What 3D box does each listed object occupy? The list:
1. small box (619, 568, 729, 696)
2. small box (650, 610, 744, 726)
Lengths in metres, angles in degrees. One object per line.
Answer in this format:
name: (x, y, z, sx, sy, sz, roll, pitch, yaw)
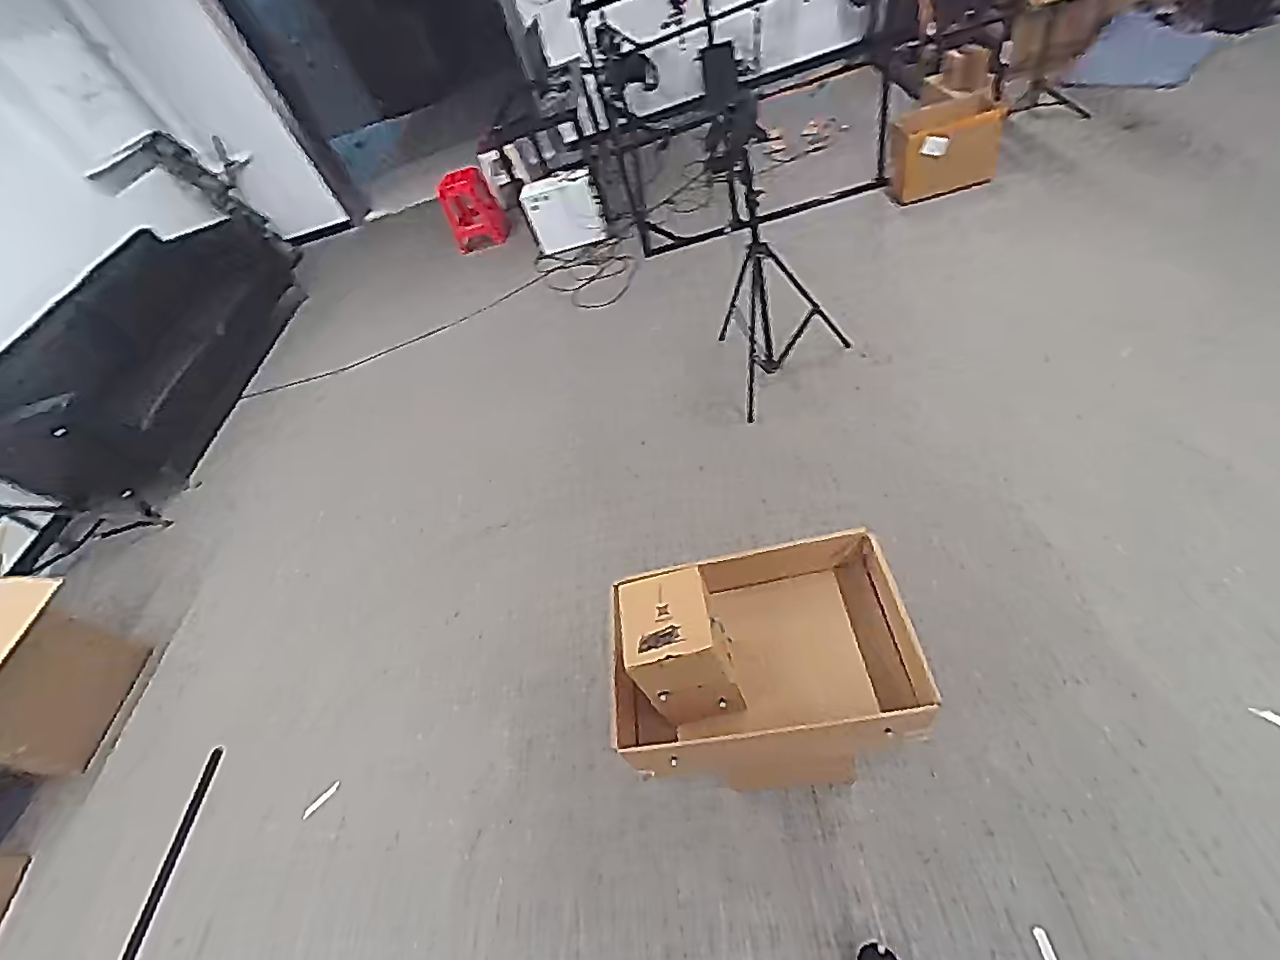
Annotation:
small box: (0.067, 0.303, 1.052, 0.168, 0.176, 0.179, -16, 46, 9)
small box: (0.119, 0.409, 1.167, 0.179, 0.176, 0.168, -17, 47, 8)
